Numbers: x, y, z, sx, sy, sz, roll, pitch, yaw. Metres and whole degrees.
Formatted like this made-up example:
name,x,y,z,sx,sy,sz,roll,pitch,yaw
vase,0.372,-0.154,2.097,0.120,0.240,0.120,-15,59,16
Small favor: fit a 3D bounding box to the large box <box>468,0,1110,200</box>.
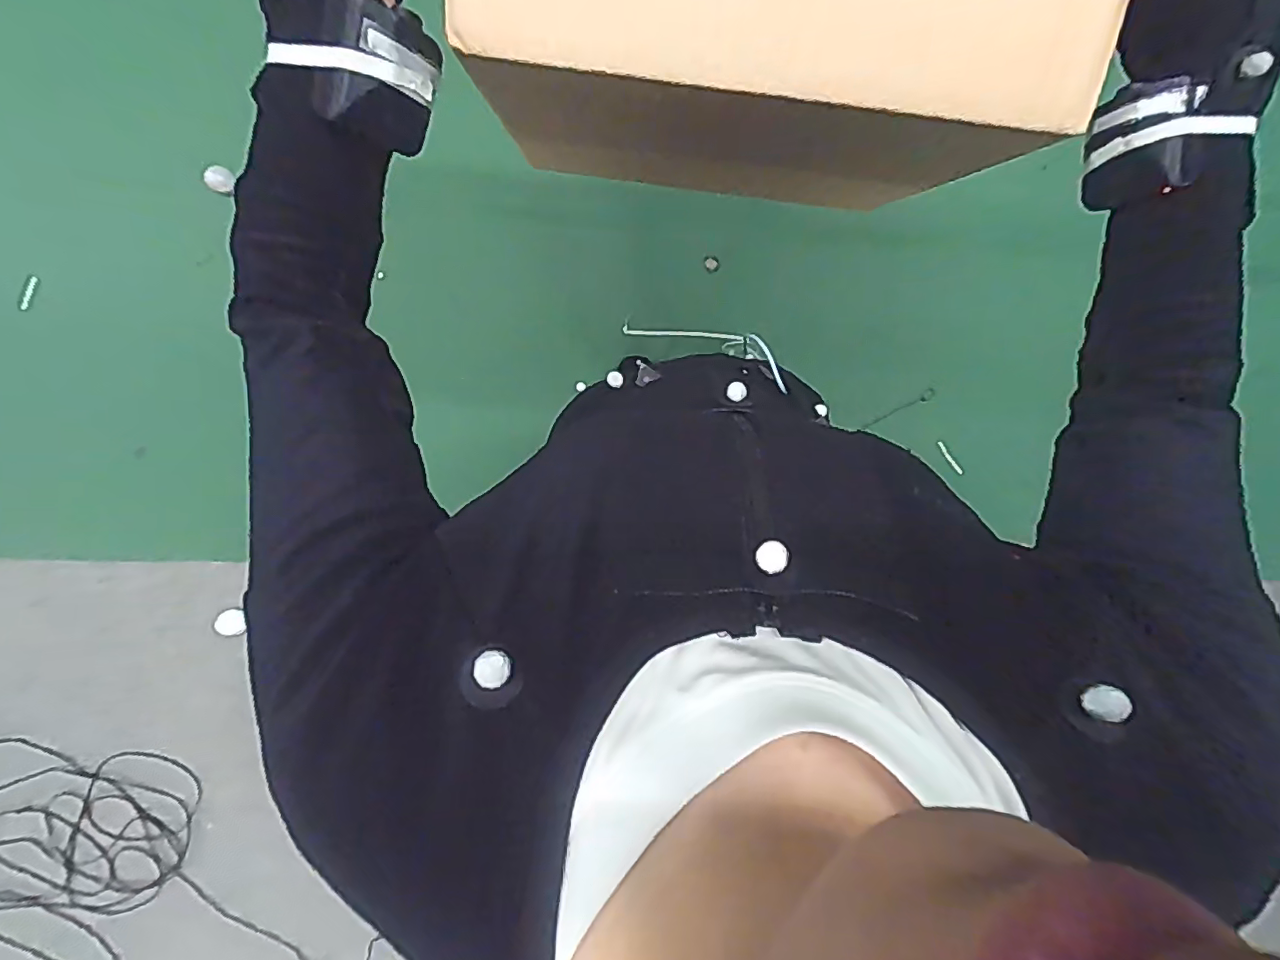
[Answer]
name,x,y,z,sx,sy,sz,roll,pitch,yaw
large box,0.095,-0.441,0.438,0.408,0.320,0.320,4,108,-5
